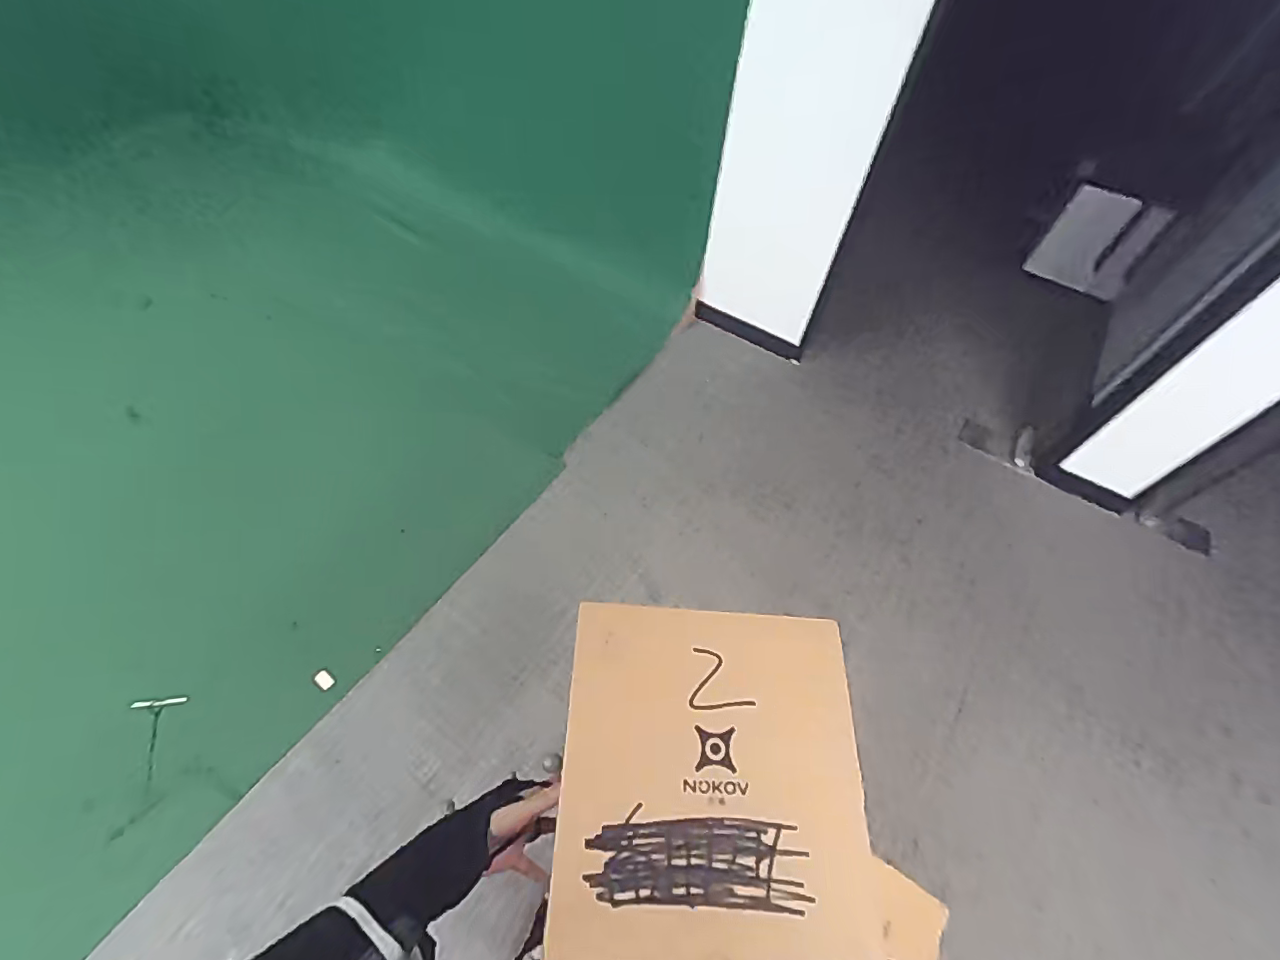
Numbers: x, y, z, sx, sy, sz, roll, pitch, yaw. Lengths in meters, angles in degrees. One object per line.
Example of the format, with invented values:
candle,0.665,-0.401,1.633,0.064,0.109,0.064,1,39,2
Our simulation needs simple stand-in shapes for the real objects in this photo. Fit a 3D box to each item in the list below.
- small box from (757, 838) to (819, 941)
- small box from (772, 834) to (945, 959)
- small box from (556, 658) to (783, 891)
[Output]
small box,0.339,0.789,0.984,0.179,0.176,0.168,28,57,16
small box,0.331,0.697,0.849,0.179,0.176,0.168,31,58,16
small box,0.019,0.276,0.515,0.179,0.176,0.168,4,58,-3
